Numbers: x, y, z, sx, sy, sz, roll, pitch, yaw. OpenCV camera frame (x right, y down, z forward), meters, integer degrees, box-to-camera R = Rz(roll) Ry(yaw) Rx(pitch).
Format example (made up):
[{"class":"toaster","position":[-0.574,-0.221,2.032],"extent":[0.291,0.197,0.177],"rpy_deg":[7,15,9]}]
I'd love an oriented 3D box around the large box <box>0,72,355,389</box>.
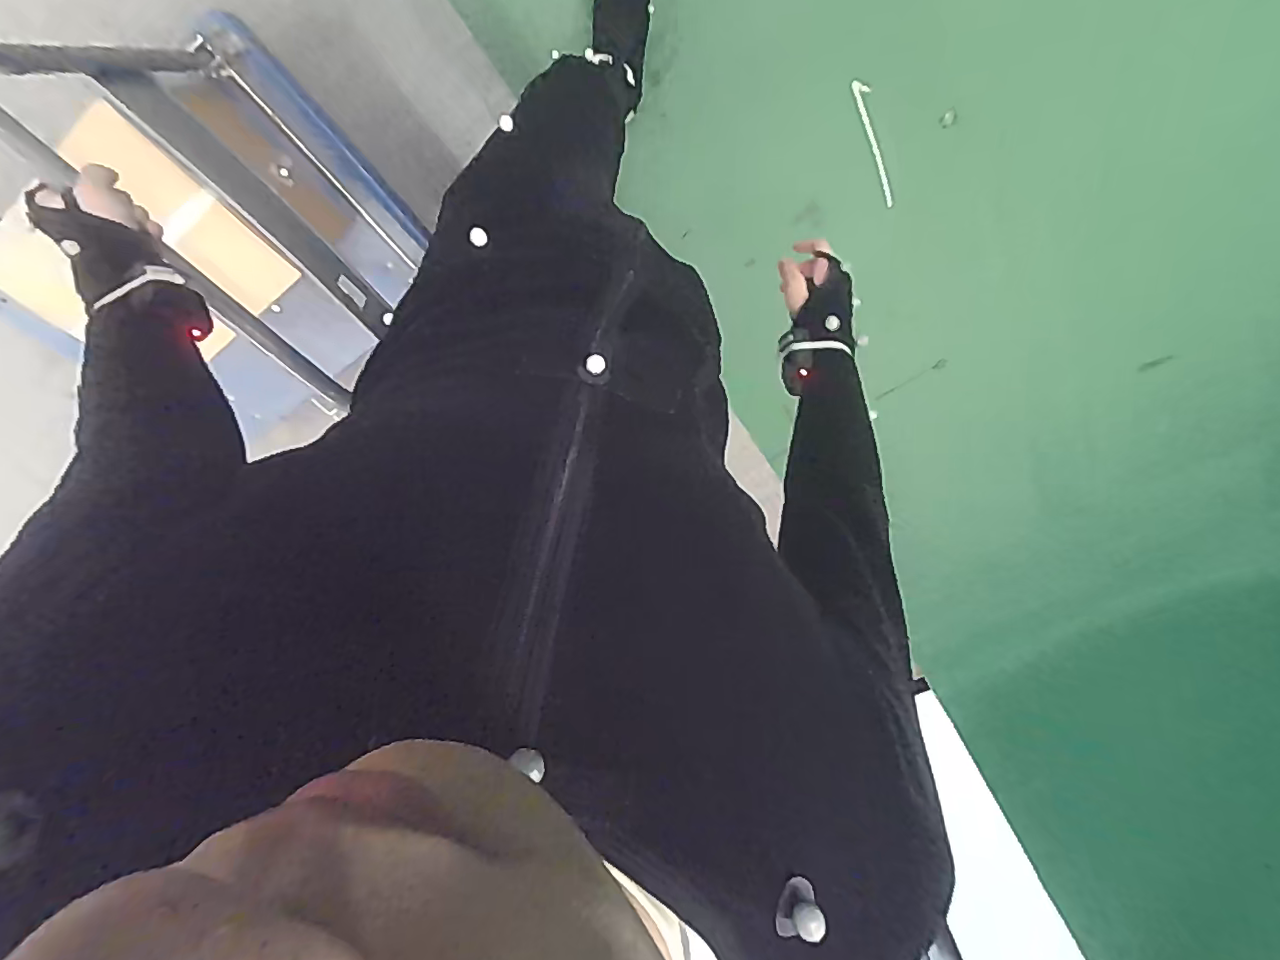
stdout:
[{"class":"large box","position":[-0.825,-0.457,1.007],"extent":[0.408,0.320,0.320],"rpy_deg":[-30,127,17]}]
